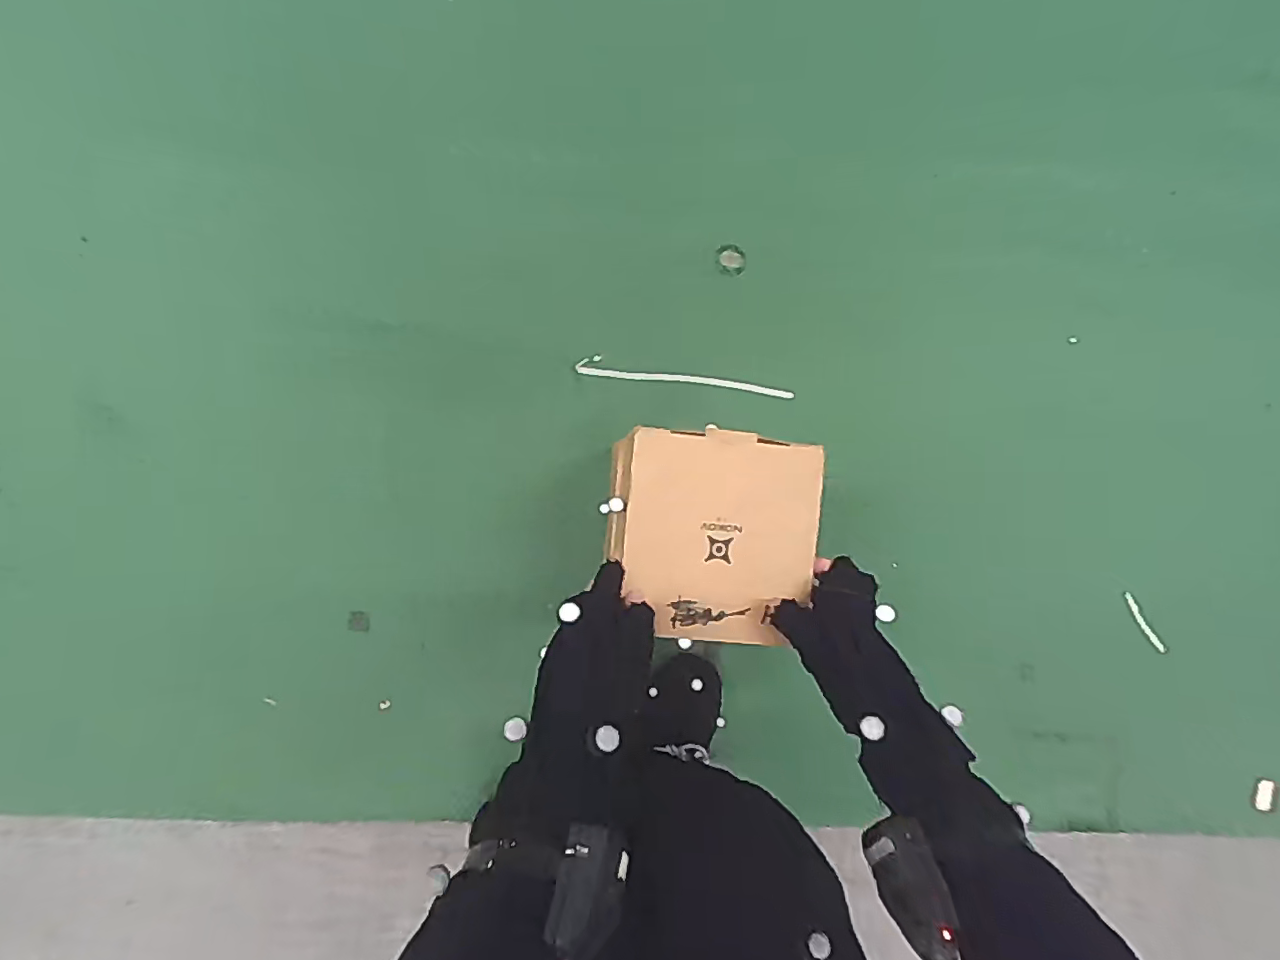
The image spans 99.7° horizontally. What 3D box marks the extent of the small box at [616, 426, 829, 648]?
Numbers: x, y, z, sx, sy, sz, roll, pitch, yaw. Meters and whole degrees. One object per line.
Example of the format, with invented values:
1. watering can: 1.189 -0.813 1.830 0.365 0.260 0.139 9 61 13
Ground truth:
1. small box: 0.067 0.049 0.533 0.168 0.176 0.179 6 90 -5

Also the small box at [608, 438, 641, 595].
1. small box: 0.050 0.048 0.676 0.168 0.176 0.179 7 91 -3
